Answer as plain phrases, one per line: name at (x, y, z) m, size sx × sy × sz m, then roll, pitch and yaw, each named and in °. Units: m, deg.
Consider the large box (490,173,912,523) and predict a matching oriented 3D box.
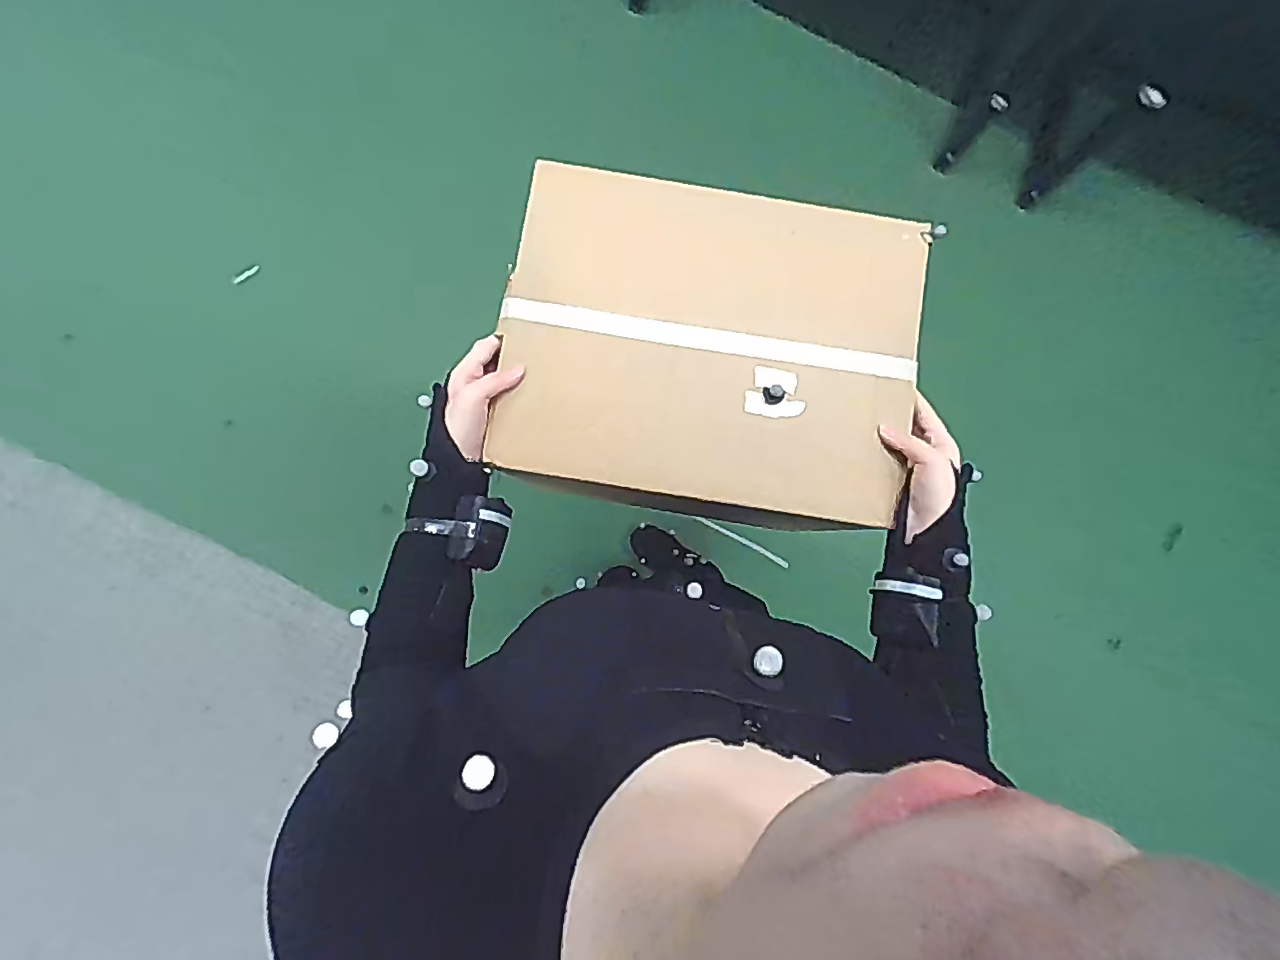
large box at (0.061, -0.124, 0.685) m, size 0.408 × 0.320 × 0.320 m, roll 8°, pitch 84°, yaw -2°
